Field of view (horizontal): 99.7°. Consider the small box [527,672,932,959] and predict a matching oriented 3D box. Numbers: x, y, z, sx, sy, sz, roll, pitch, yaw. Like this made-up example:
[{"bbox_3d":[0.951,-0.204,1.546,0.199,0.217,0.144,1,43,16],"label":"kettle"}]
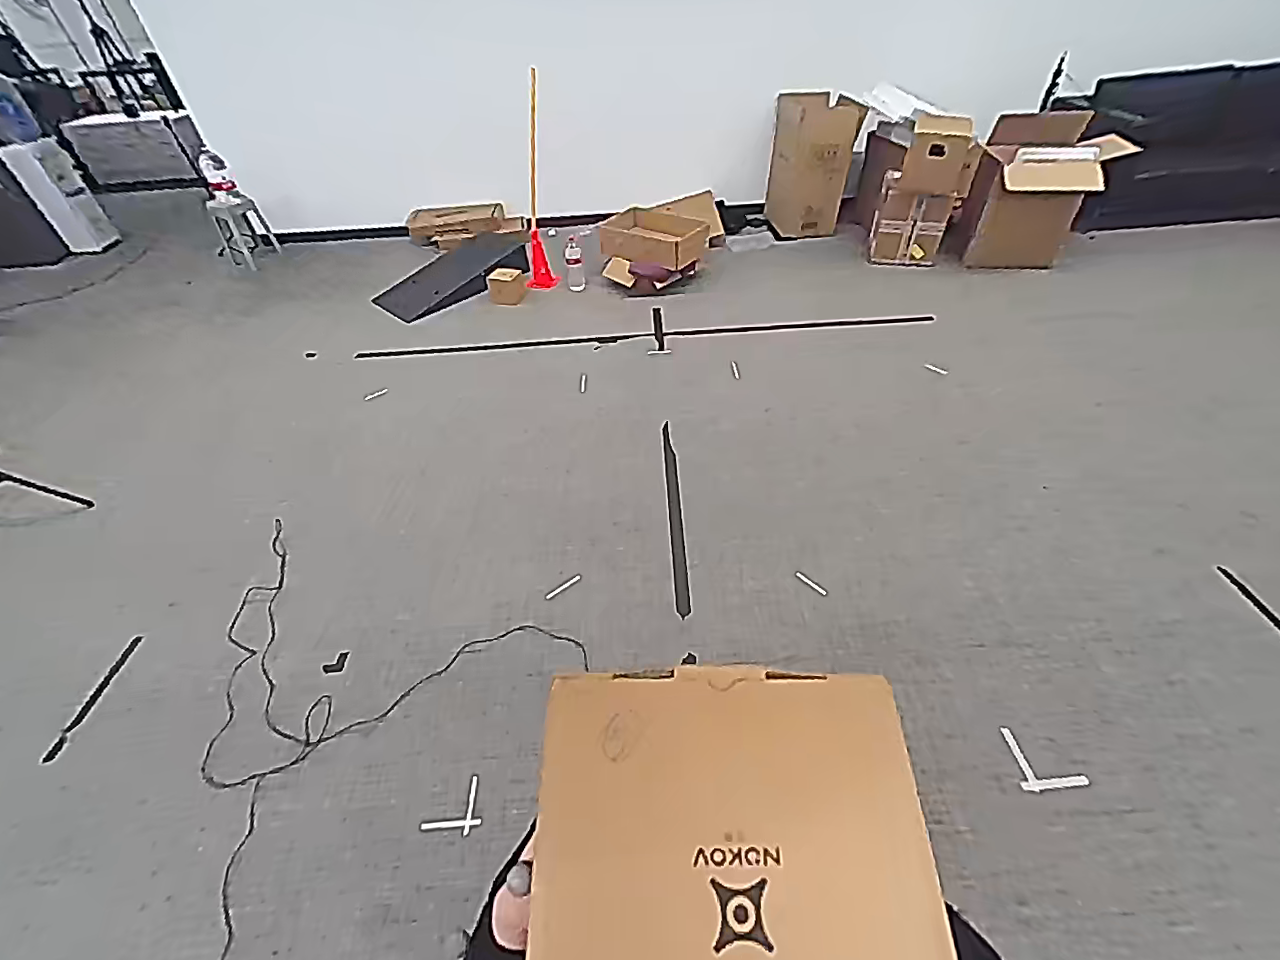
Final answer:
[{"bbox_3d":[0.032,0.214,0.295,0.168,0.176,0.179,2,59,-2],"label":"small box"}]
